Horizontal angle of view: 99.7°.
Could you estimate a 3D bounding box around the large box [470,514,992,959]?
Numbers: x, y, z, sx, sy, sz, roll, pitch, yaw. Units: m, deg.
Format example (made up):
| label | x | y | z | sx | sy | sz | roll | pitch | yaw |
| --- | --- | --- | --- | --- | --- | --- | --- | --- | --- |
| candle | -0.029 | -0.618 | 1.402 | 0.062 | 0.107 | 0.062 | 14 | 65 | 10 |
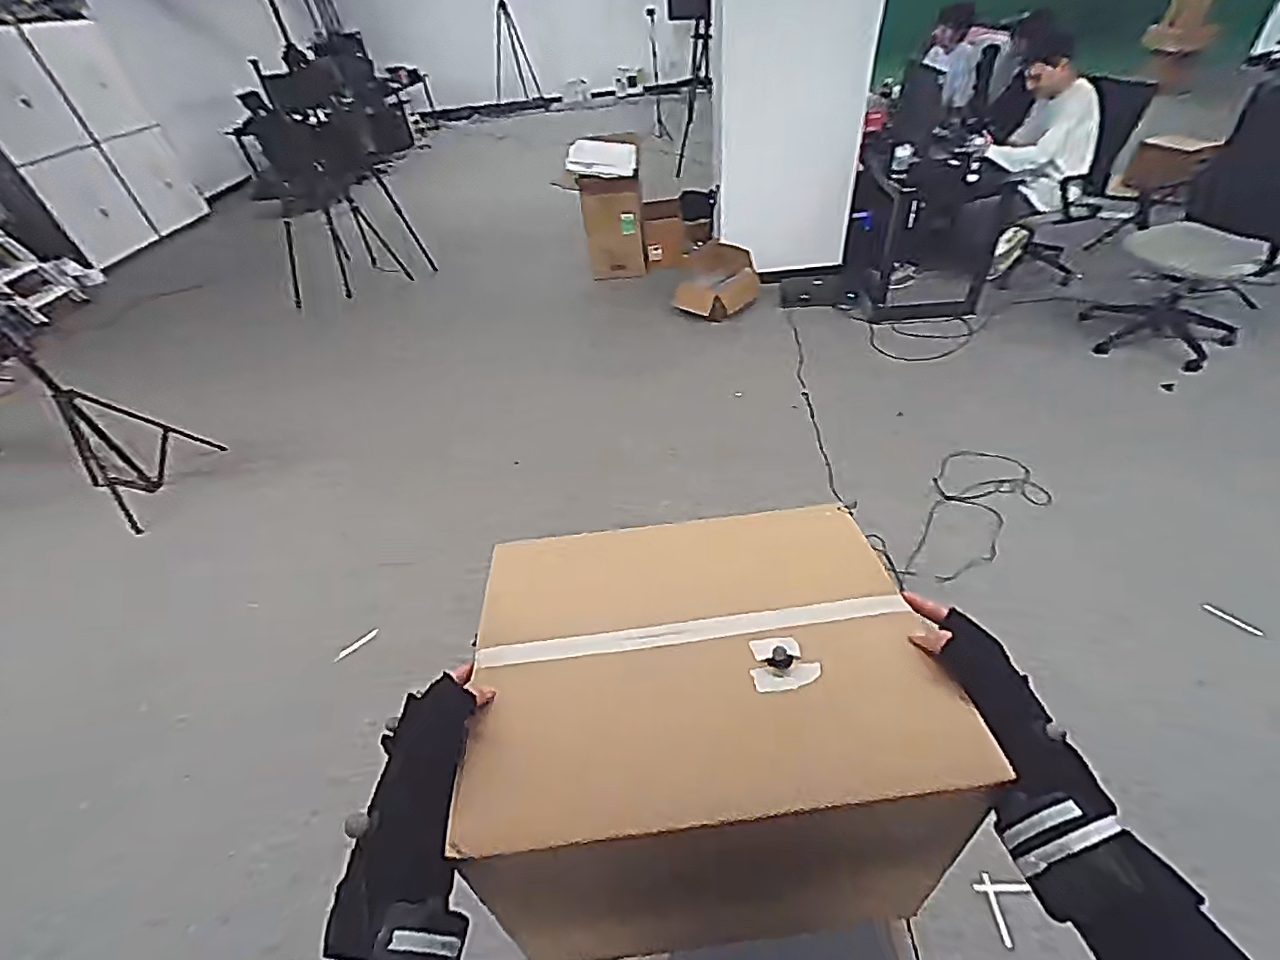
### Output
| label | x | y | z | sx | sy | sz | roll | pitch | yaw |
| --- | --- | --- | --- | --- | --- | --- | --- | --- | --- |
| large box | 0.066 | 0.272 | 0.603 | 0.408 | 0.320 | 0.320 | -6 | 37 | -2 |
